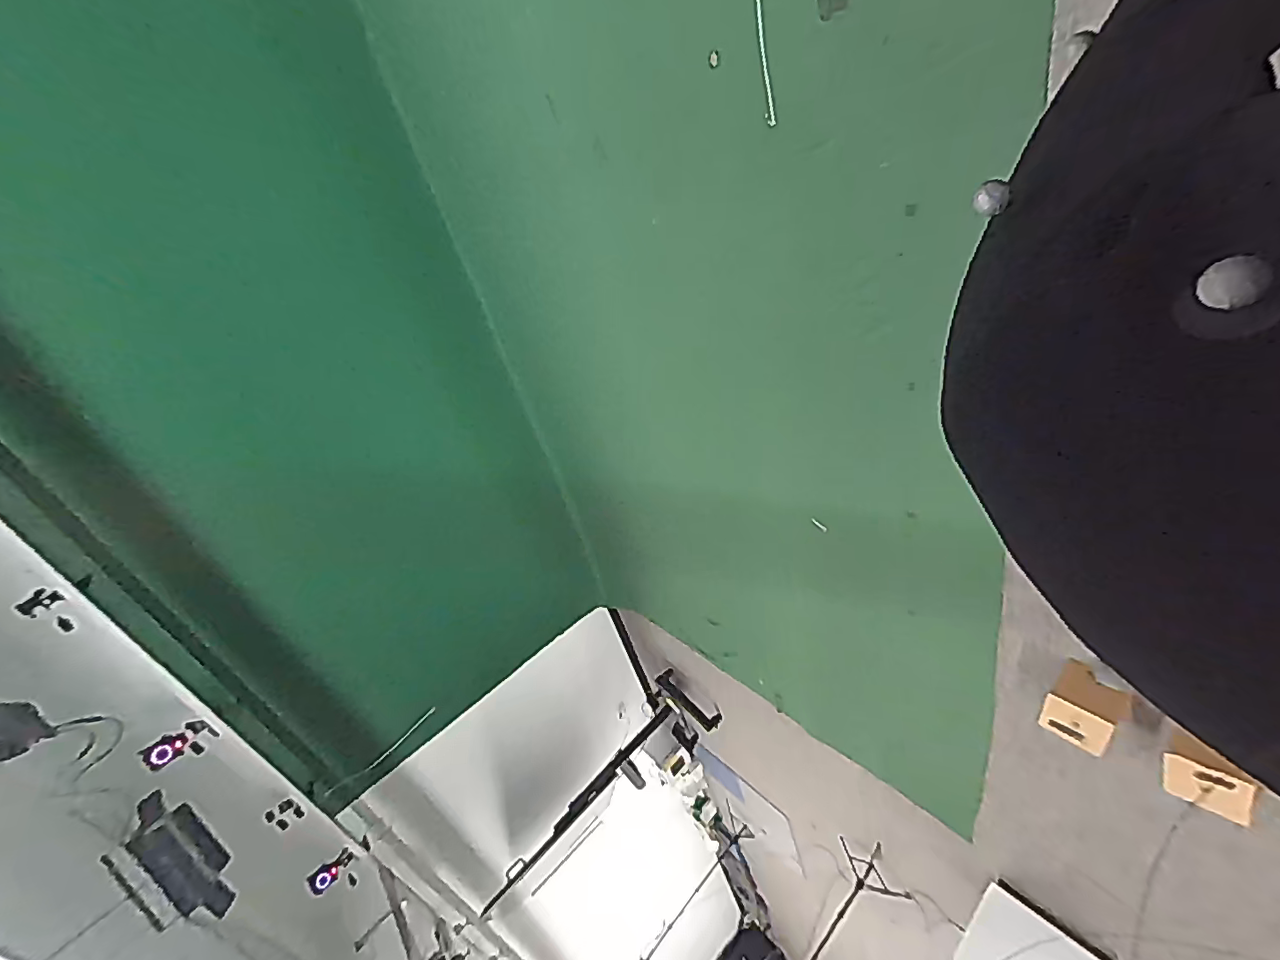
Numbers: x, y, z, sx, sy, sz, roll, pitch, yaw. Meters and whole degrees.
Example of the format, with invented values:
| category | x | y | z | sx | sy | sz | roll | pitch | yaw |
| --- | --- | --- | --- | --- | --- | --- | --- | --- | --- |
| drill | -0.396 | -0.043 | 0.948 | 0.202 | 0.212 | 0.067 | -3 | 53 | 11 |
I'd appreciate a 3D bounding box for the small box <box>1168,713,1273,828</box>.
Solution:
| category | x | y | z | sx | sy | sz | roll | pitch | yaw |
| --- | --- | --- | --- | --- | --- | --- | --- | --- | --- |
| small box | 1.555 | 0.767 | 1.450 | 0.168 | 0.176 | 0.179 | 12 | 131 | 54 |
